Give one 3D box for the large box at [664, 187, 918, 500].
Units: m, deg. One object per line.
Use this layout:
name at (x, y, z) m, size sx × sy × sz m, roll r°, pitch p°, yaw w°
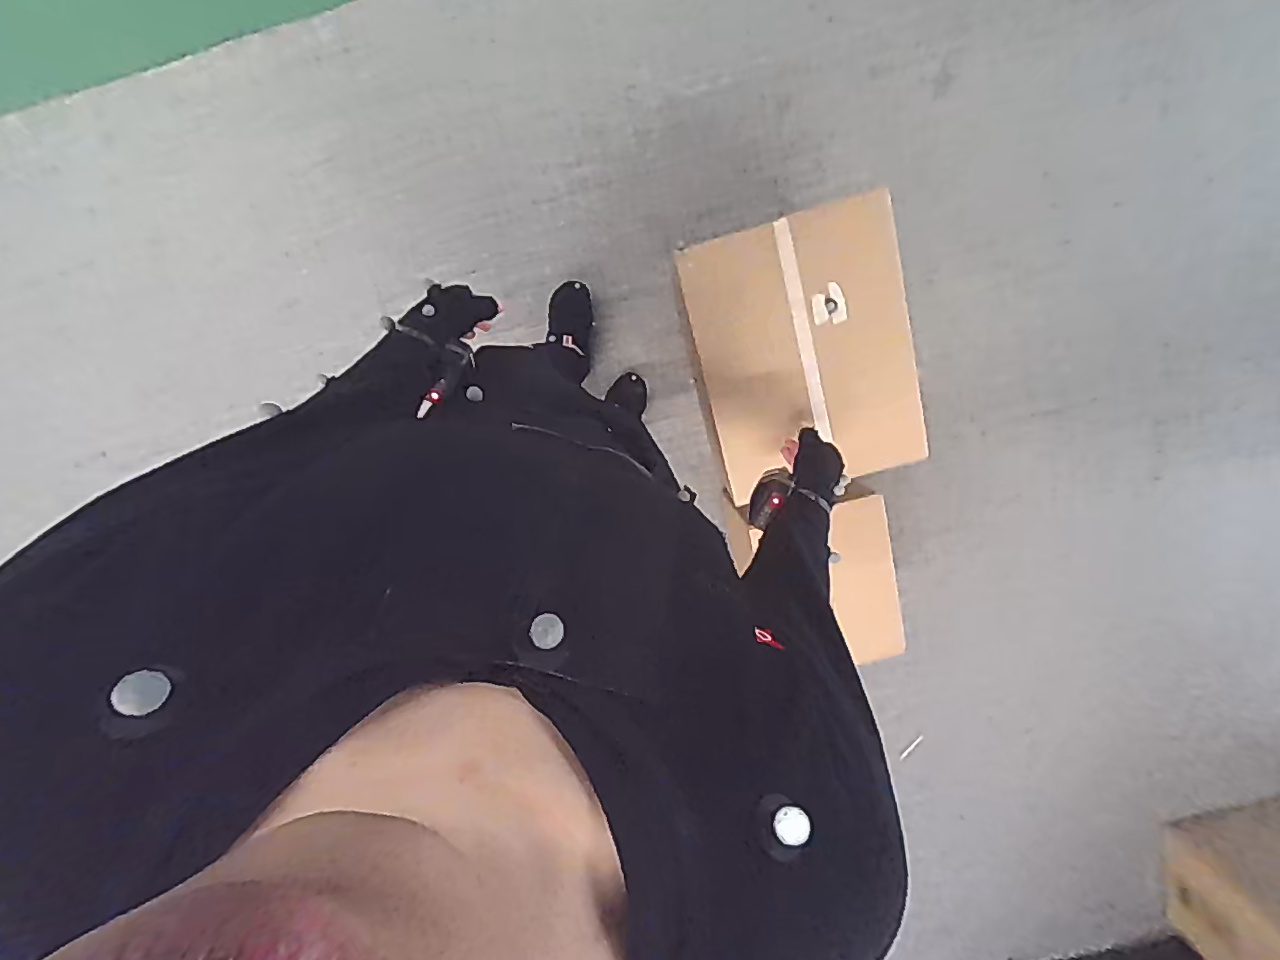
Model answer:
large box at (0.241, -0.223, 0.956) m, size 0.320 × 0.320 × 0.408 m, roll -14°, pitch 103°, yaw 5°
